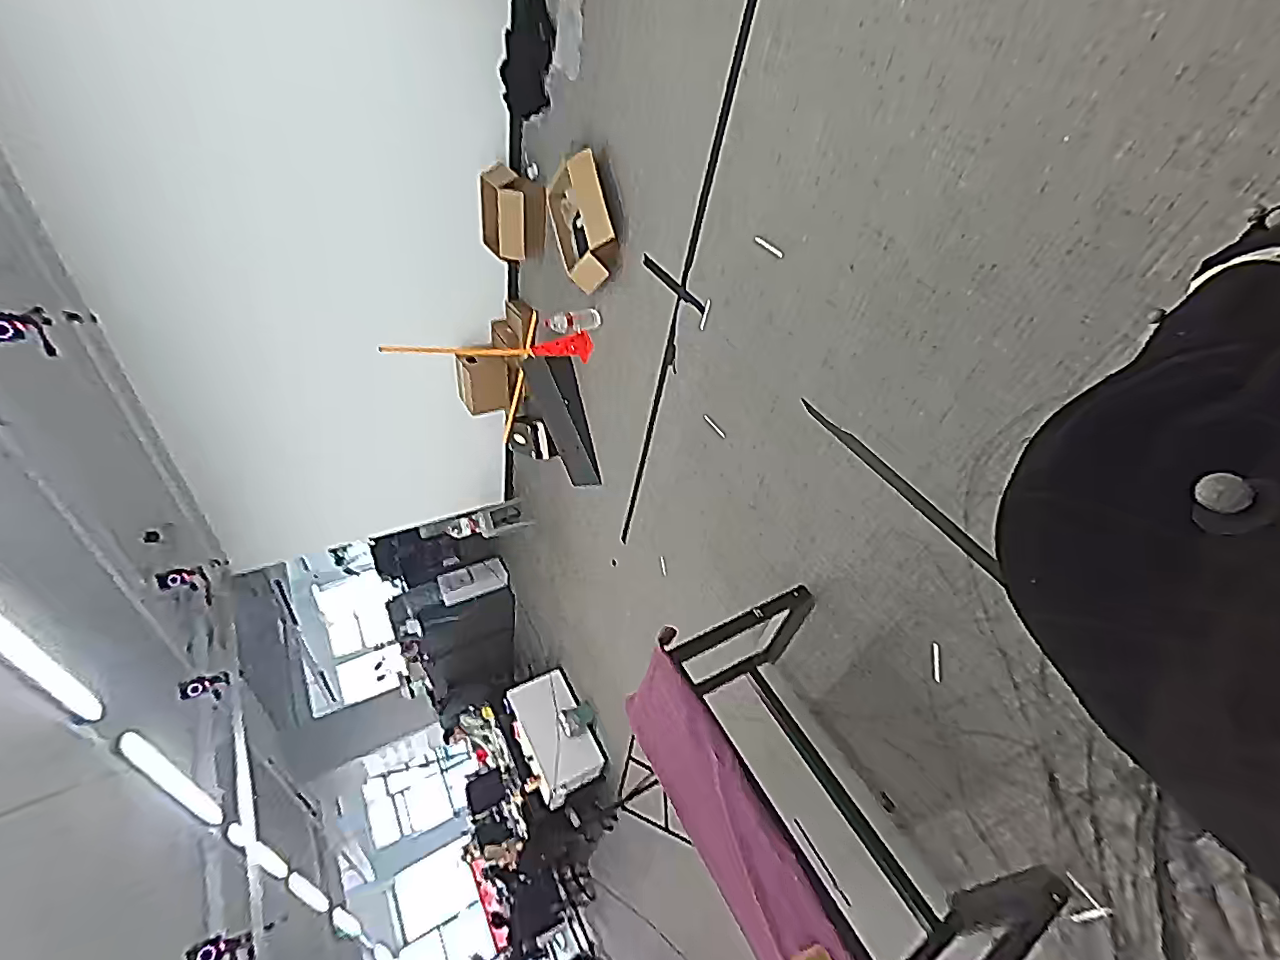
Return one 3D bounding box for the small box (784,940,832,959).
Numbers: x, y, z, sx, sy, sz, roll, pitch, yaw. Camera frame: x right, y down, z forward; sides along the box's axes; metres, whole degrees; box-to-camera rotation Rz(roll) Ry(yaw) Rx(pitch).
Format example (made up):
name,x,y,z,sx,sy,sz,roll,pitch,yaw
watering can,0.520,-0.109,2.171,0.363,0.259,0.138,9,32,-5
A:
name,x,y,z,sx,sy,sz,roll,pitch,yaw
small box,0.436,1.355,1.412,0.168,0.176,0.179,50,144,35
